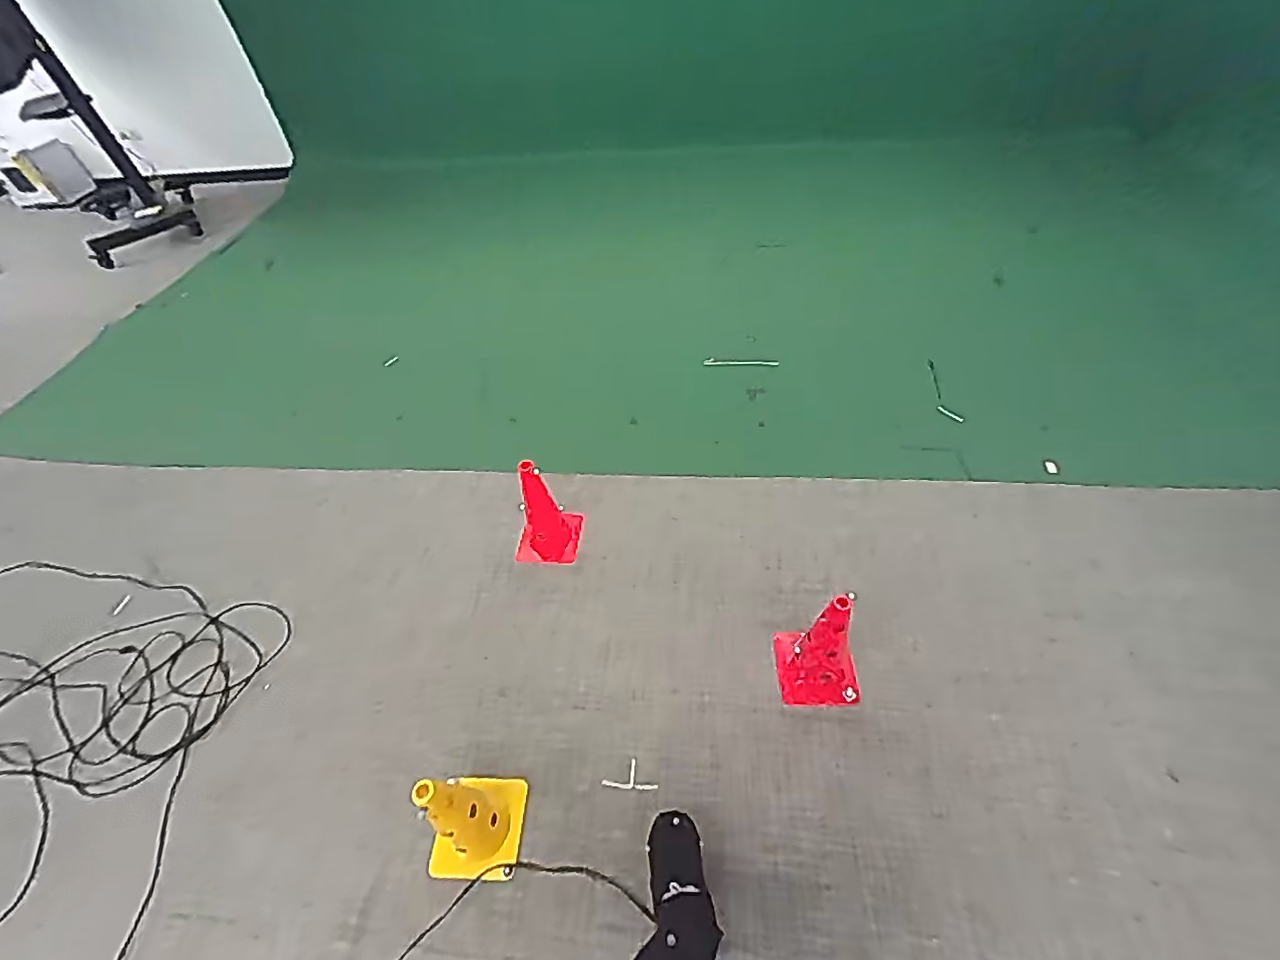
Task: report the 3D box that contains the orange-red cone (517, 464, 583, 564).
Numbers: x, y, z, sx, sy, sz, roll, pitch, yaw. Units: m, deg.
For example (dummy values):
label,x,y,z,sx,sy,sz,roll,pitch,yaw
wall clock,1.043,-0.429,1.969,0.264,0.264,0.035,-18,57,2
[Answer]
label,x,y,z,sx,sy,sz,roll,pitch,yaw
orange-red cone,-0.312,0.083,1.665,0.198,0.360,0.199,1,50,8

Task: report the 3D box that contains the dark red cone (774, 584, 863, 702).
label,x,y,z,sx,sy,sz,roll,pitch,yaw
dark red cone,0.450,0.369,1.299,0.202,0.394,0.201,-3,47,3
